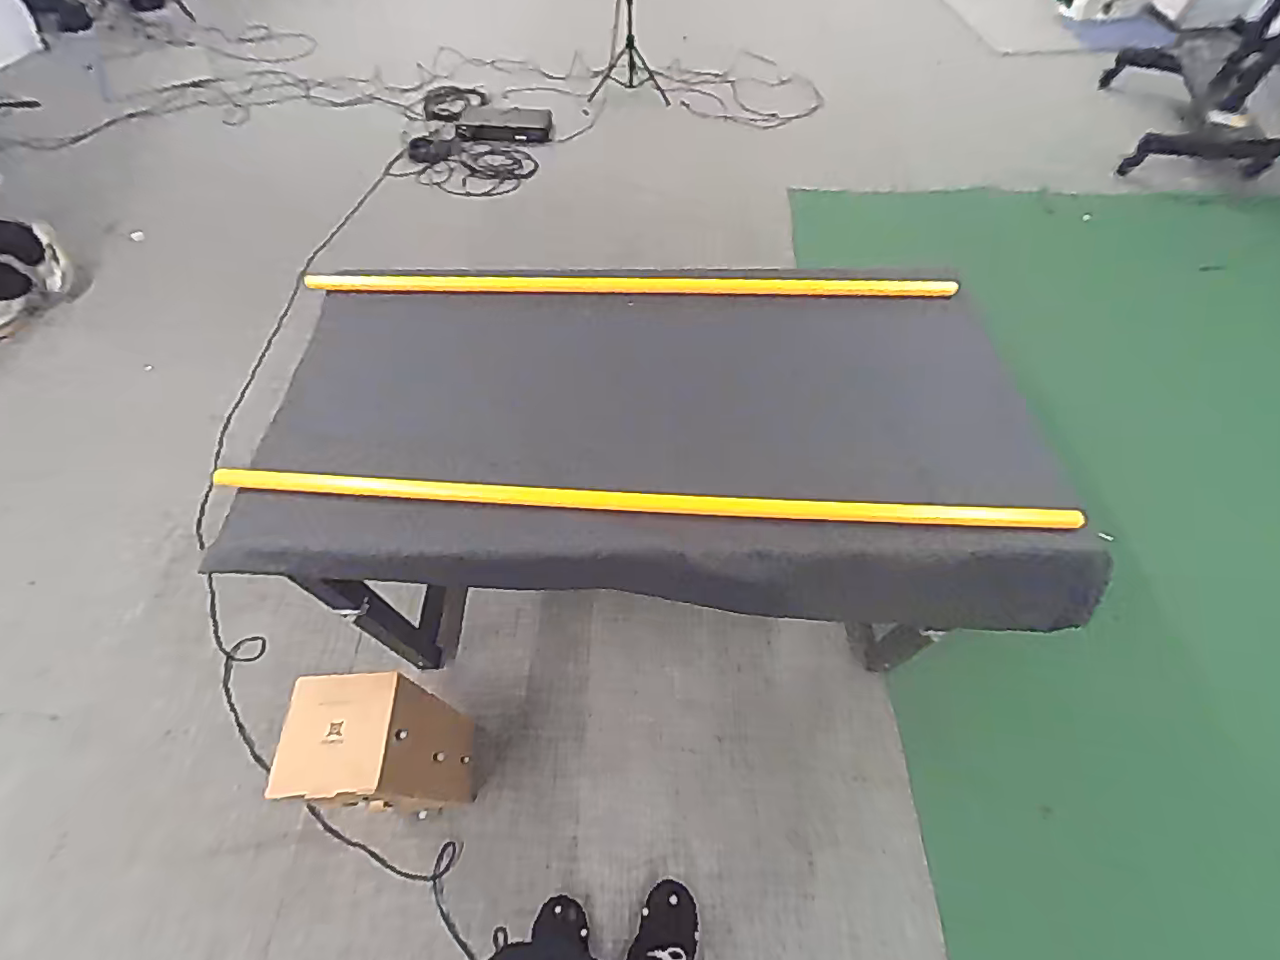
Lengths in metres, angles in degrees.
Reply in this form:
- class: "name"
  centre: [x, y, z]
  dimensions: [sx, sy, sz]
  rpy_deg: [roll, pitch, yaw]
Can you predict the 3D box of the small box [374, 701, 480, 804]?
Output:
- class: "small box"
  centre: [-0.455, 0.600, 1.187]
  dimensions: [0.168, 0.176, 0.179]
  rpy_deg: [-6, 58, -3]
